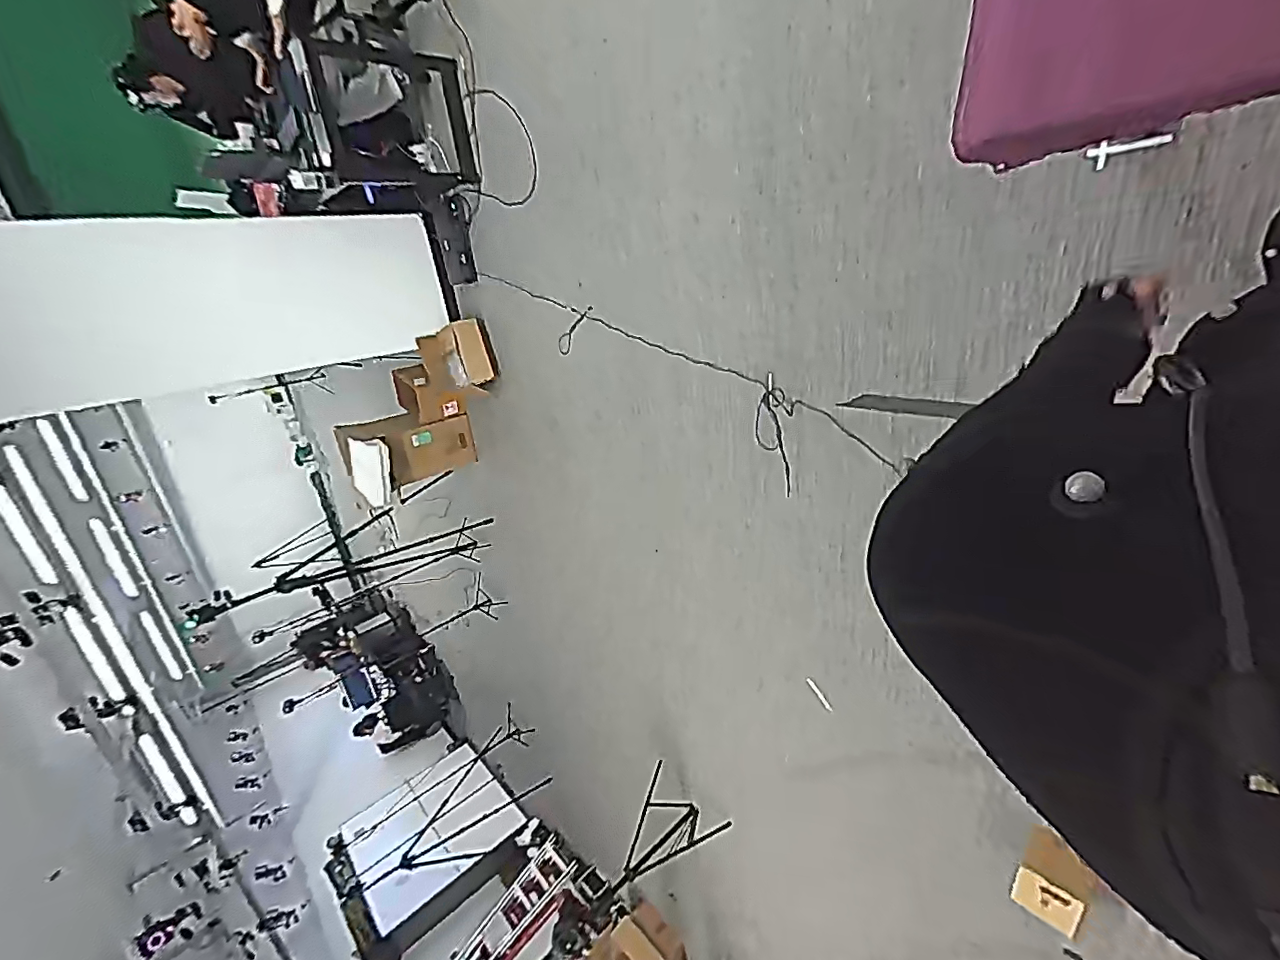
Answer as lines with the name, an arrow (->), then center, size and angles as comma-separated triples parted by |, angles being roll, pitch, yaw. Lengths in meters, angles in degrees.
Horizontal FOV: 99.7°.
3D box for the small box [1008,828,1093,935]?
small box -> 1.299, 1.259, 1.709 | 0.168, 0.176, 0.179 | 21, 126, 45
